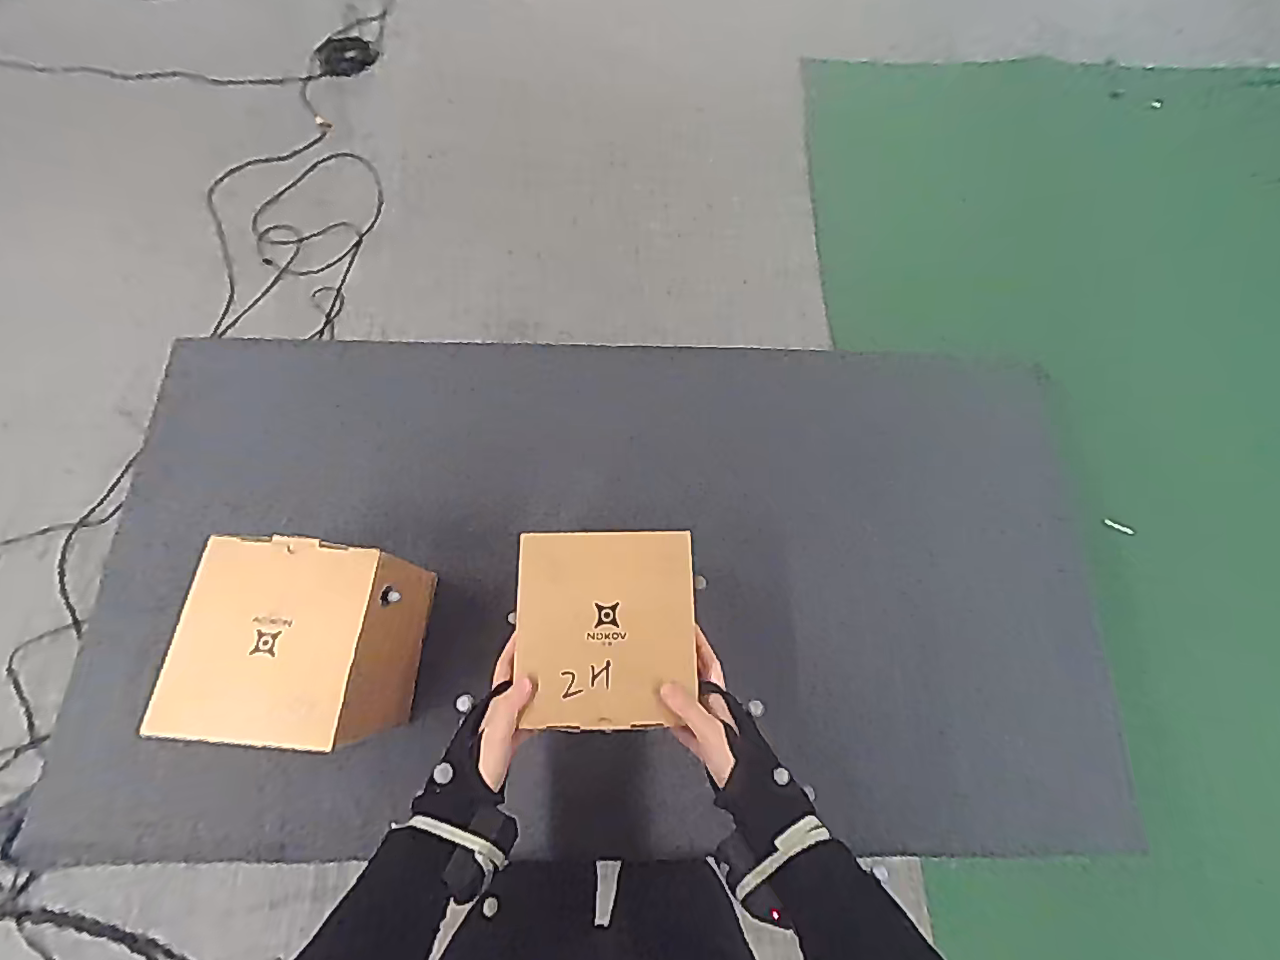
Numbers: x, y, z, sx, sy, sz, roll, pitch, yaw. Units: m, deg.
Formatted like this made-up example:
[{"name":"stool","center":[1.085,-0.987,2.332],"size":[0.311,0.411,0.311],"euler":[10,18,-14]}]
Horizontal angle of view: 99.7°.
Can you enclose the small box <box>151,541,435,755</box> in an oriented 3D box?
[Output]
[{"name":"small box","center":[-0.333,0.172,0.564],"size":[0.168,0.176,0.179],"euler":[5,70,0]}]

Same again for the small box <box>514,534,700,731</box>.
[{"name":"small box","center":[-0.032,0.162,0.574],"size":[0.168,0.176,0.179],"euler":[-1,72,-1]}]
